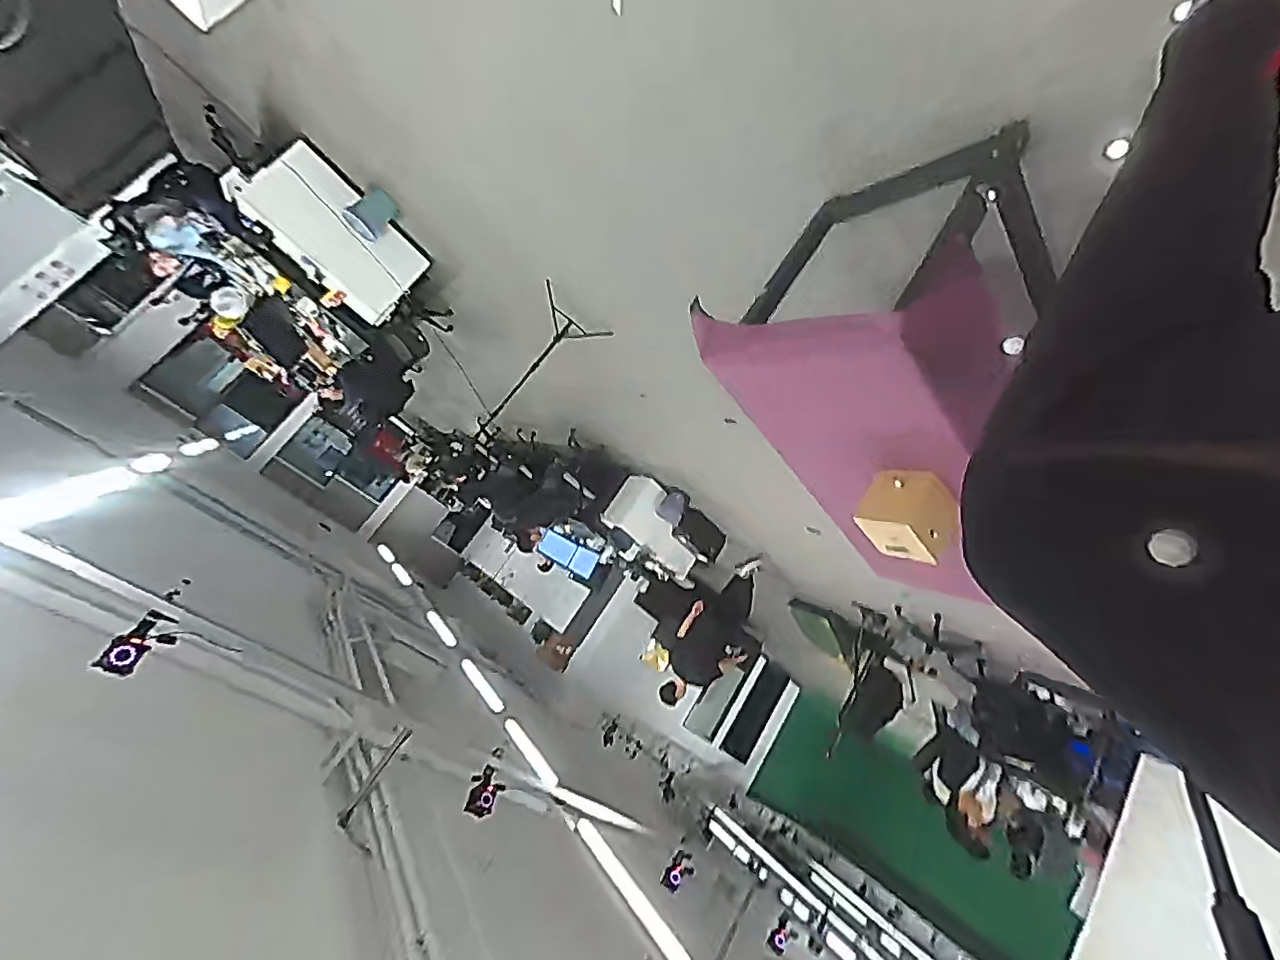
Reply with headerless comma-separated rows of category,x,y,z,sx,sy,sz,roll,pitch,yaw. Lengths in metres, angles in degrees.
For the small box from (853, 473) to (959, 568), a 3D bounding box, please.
small box,0.712,0.104,1.441,0.179,0.176,0.168,43,162,-25
